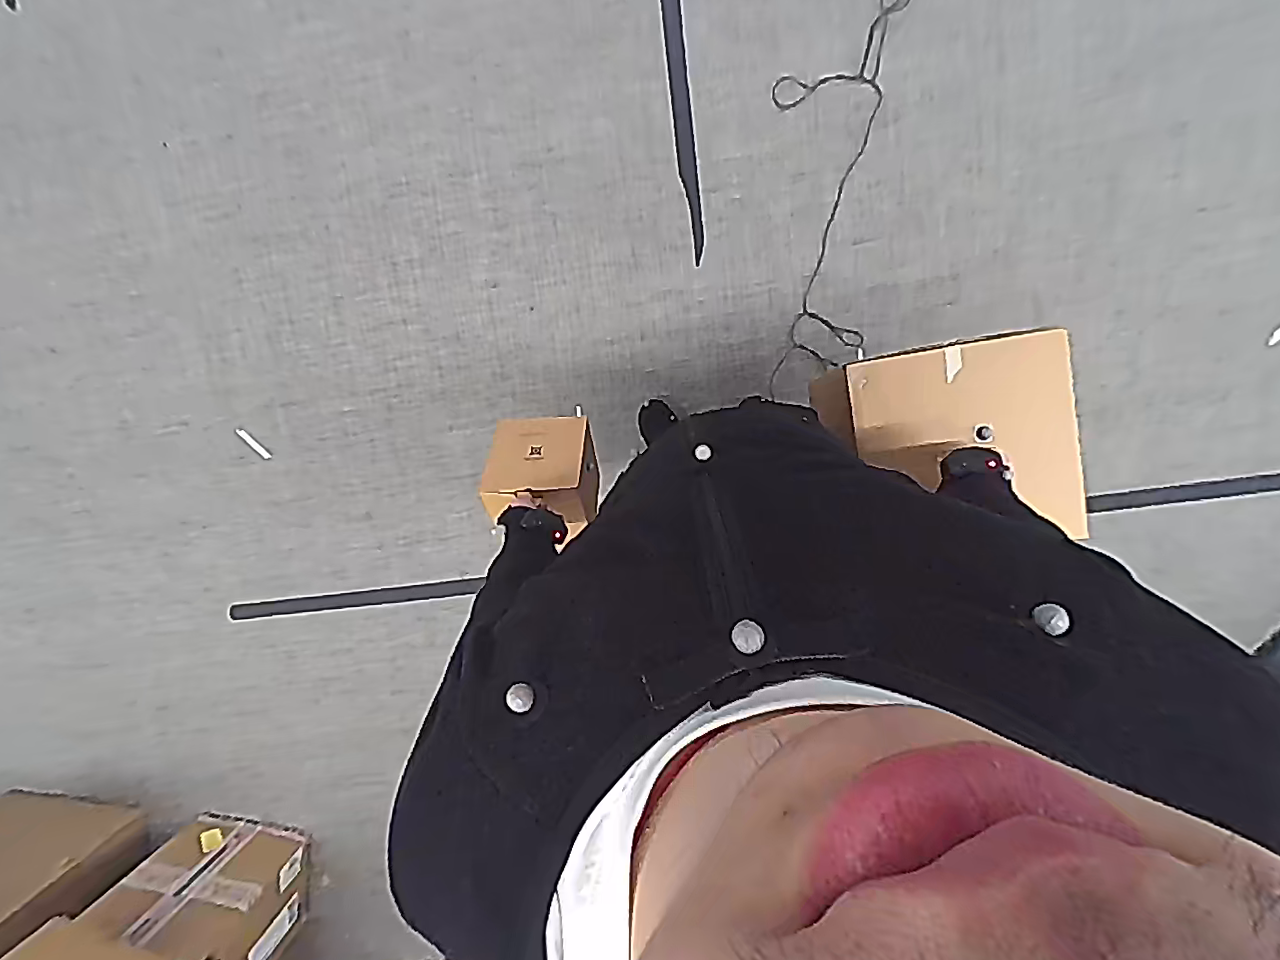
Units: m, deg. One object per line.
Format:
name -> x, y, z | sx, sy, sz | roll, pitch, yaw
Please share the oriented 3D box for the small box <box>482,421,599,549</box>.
small box -> -0.169, 0.014, 0.988 | 0.168, 0.179, 0.176 | -2, 138, 4
